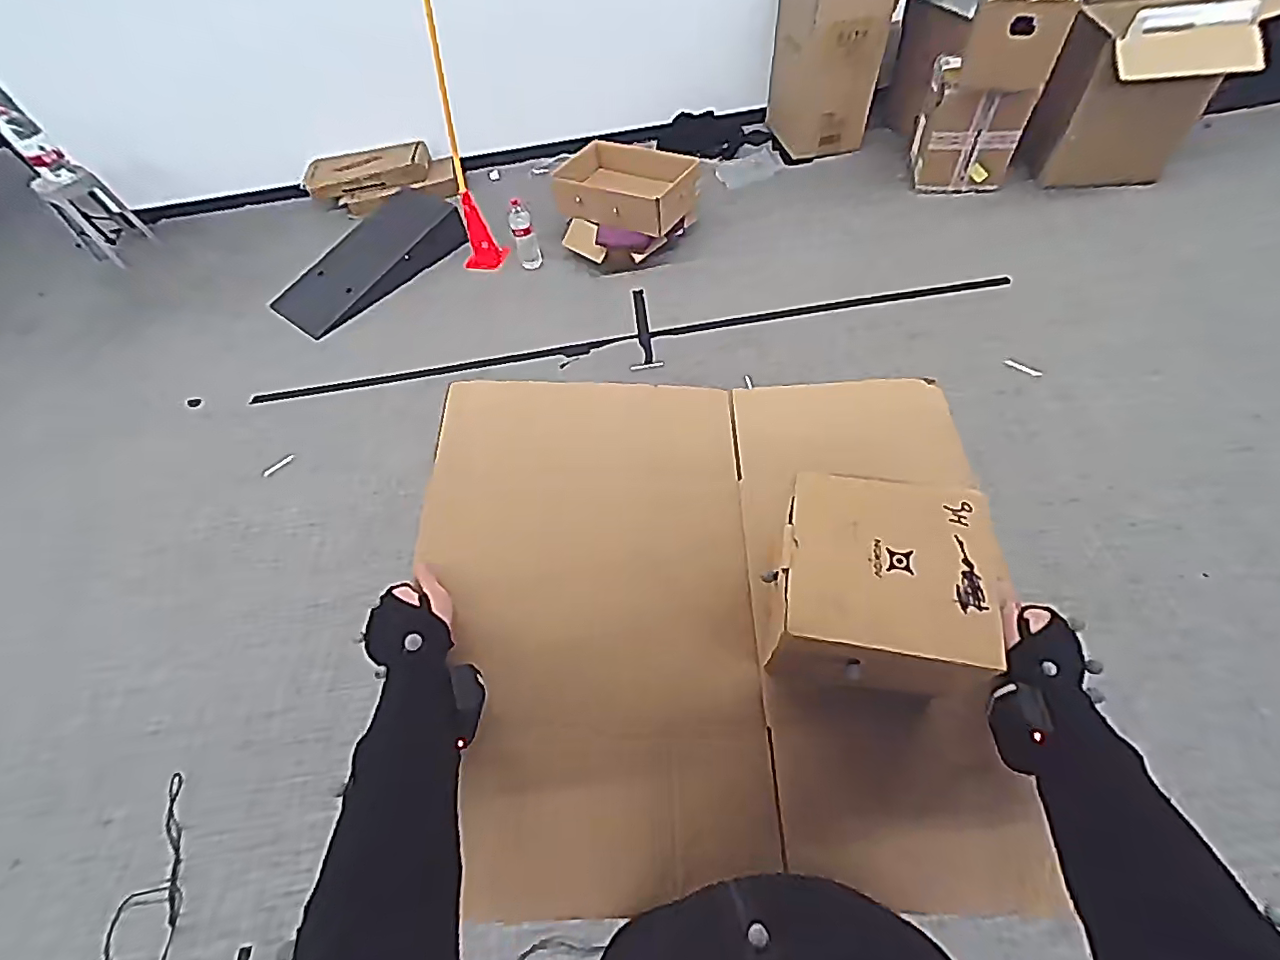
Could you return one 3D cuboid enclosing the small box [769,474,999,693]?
[{"bbox_3d":[0.232,0.112,0.559,0.179,0.176,0.168,7,62,11],"label":"small box"}]
